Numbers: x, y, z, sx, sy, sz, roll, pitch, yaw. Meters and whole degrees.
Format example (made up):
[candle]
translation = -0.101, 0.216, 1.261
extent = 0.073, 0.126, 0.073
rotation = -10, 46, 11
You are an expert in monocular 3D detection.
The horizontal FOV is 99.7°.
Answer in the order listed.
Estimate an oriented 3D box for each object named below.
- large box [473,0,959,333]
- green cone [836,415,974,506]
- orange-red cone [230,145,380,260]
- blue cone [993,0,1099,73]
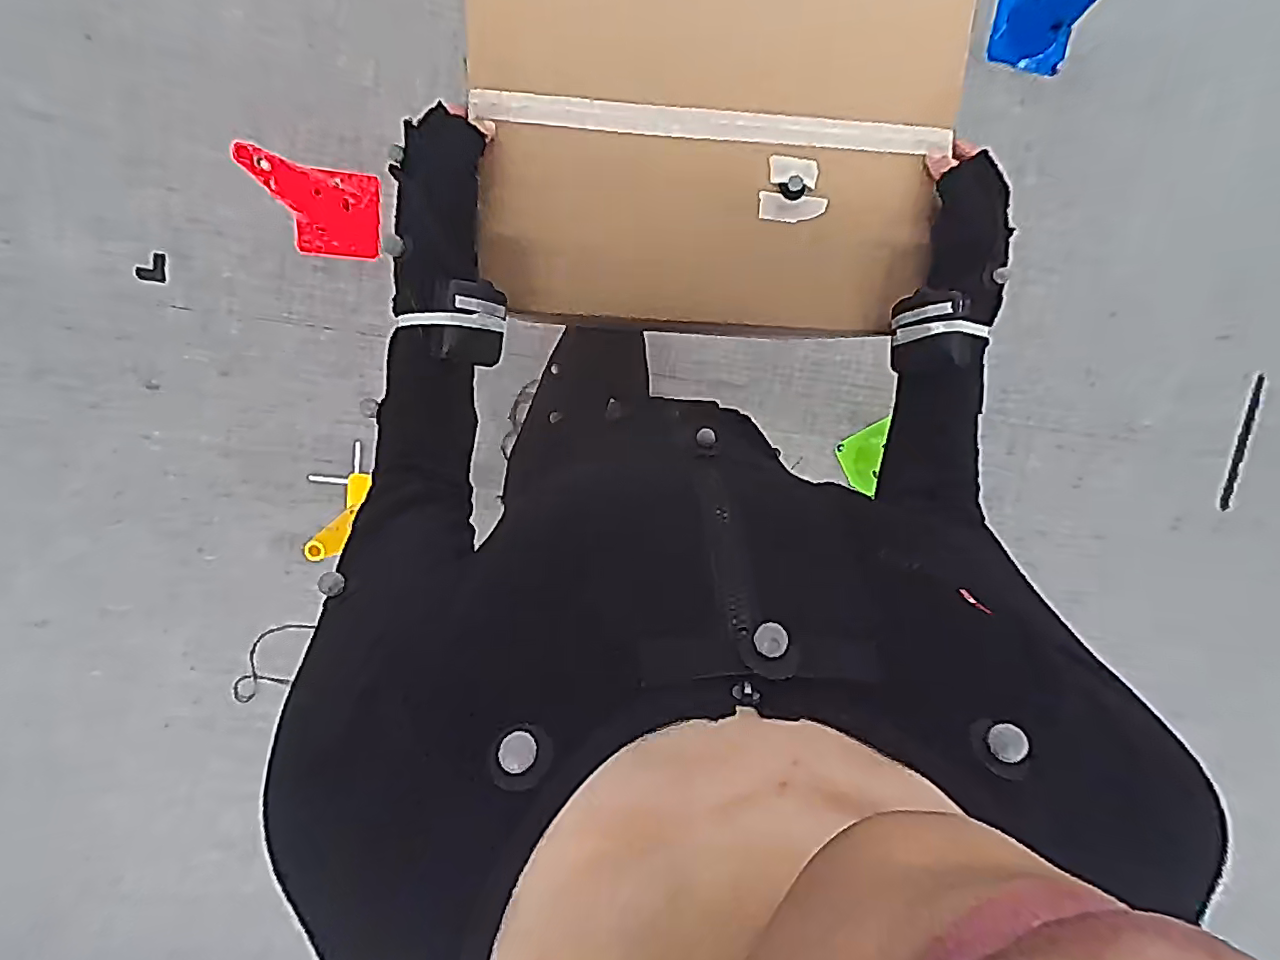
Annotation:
[large box]
translation = 0.051, -0.335, 0.601
extent = 0.408, 0.320, 0.320
rotation = 2, 104, -5
[green cone]
translation = 0.676, -0.025, 1.326
extent = 0.202, 0.368, 0.200
rotation = -29, 100, 0
[orange-red cone]
translation = -0.731, -0.620, 1.155
extent = 0.198, 0.360, 0.199
rotation = 6, 100, -3
[blue cone]
translation = 0.992, -1.103, 1.183
extent = 0.192, 0.380, 0.193
rotation = 11, 99, -6
